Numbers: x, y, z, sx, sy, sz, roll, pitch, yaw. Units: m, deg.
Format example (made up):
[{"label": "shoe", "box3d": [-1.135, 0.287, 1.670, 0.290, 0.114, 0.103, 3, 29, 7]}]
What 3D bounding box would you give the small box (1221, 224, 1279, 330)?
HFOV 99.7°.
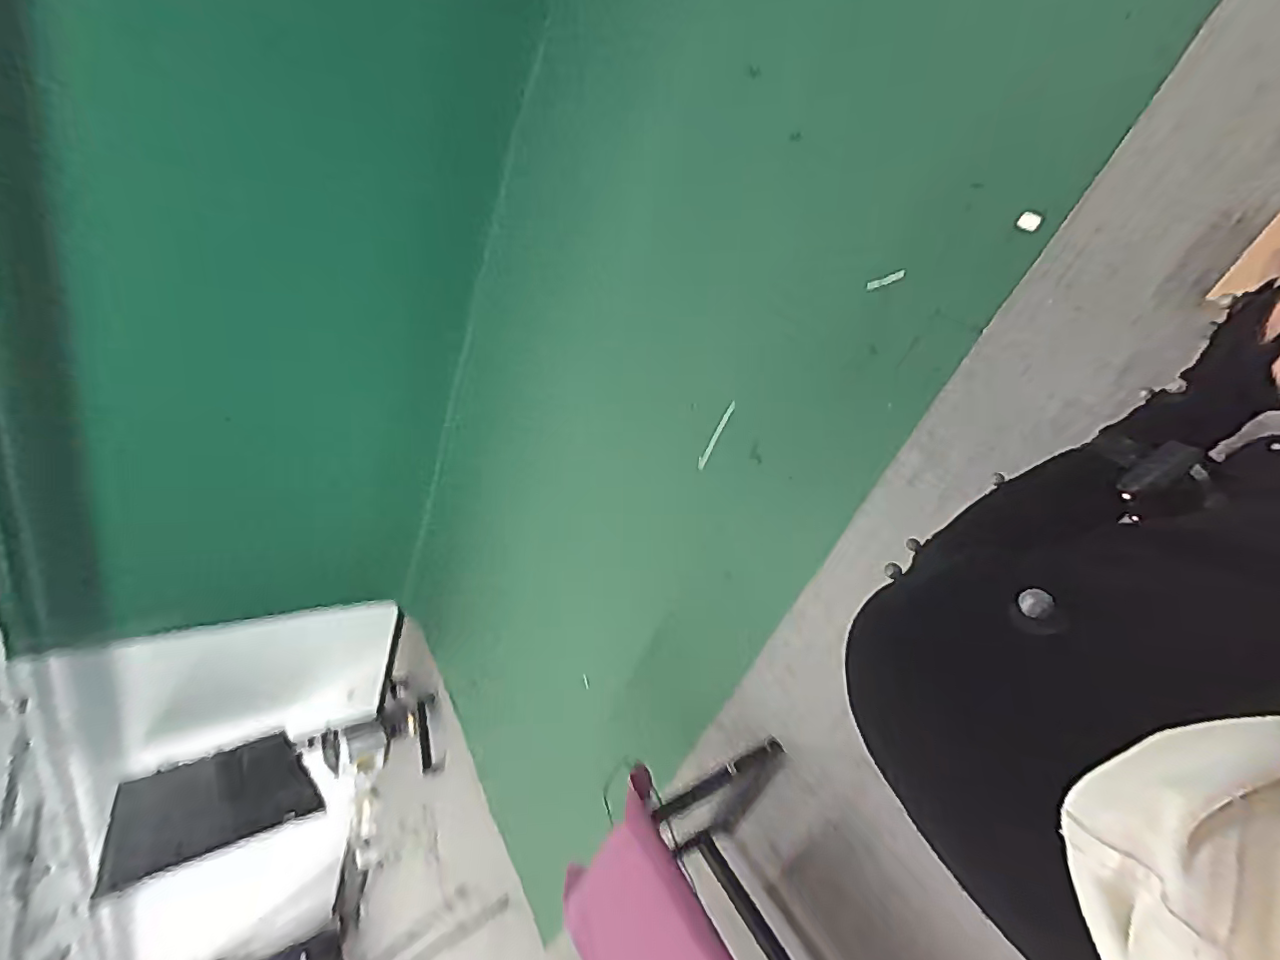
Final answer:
[{"label": "small box", "box3d": [1.246, -0.383, 1.003, 0.168, 0.176, 0.179, 49, 125, 37]}]
